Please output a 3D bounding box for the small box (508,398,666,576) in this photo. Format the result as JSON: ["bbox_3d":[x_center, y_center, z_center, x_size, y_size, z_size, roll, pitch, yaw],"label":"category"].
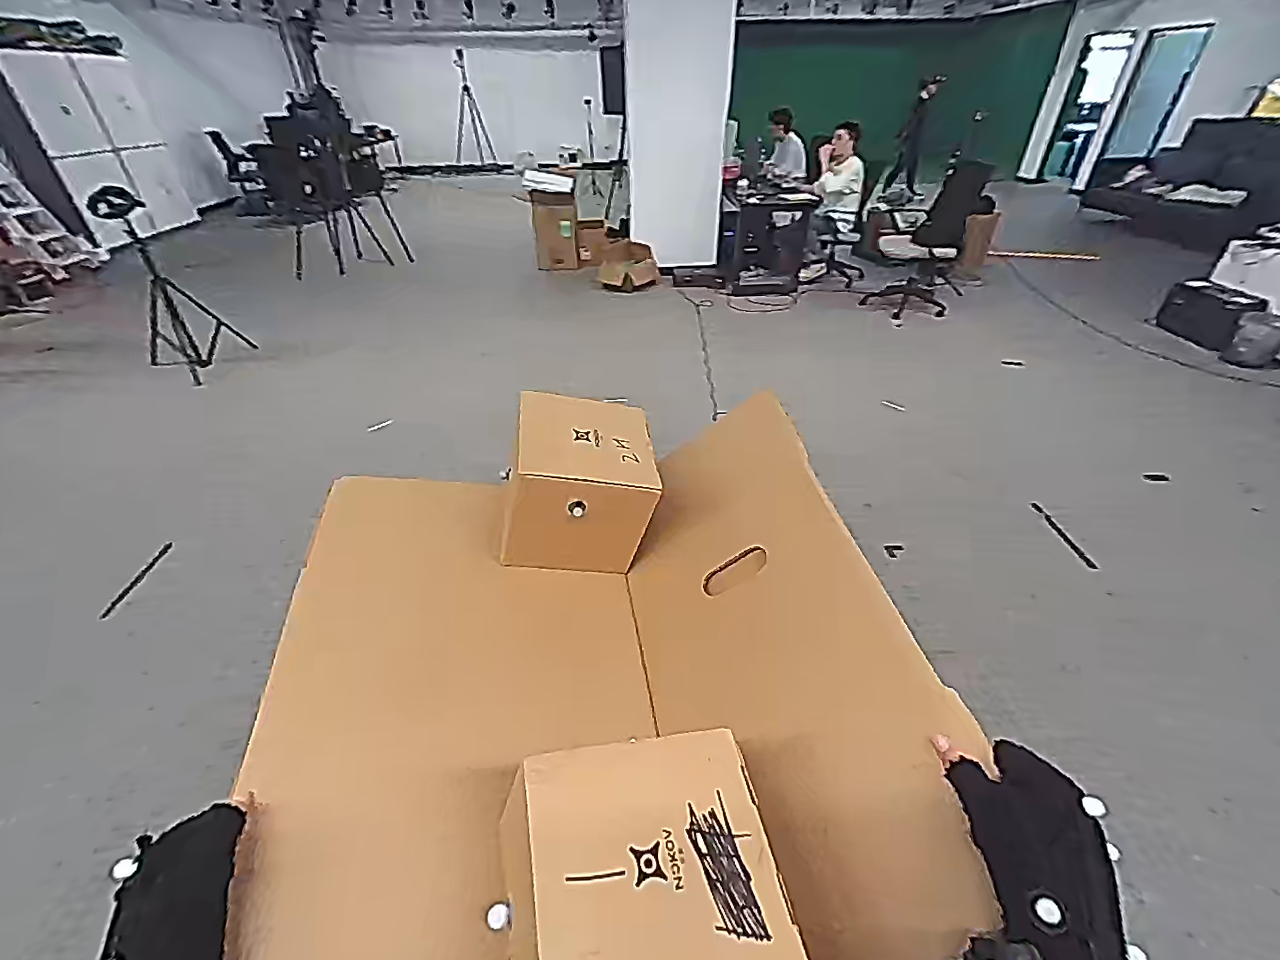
[{"bbox_3d":[-0.081,0.014,0.739,0.179,0.176,0.168,8,42,-16],"label":"small box"}]
